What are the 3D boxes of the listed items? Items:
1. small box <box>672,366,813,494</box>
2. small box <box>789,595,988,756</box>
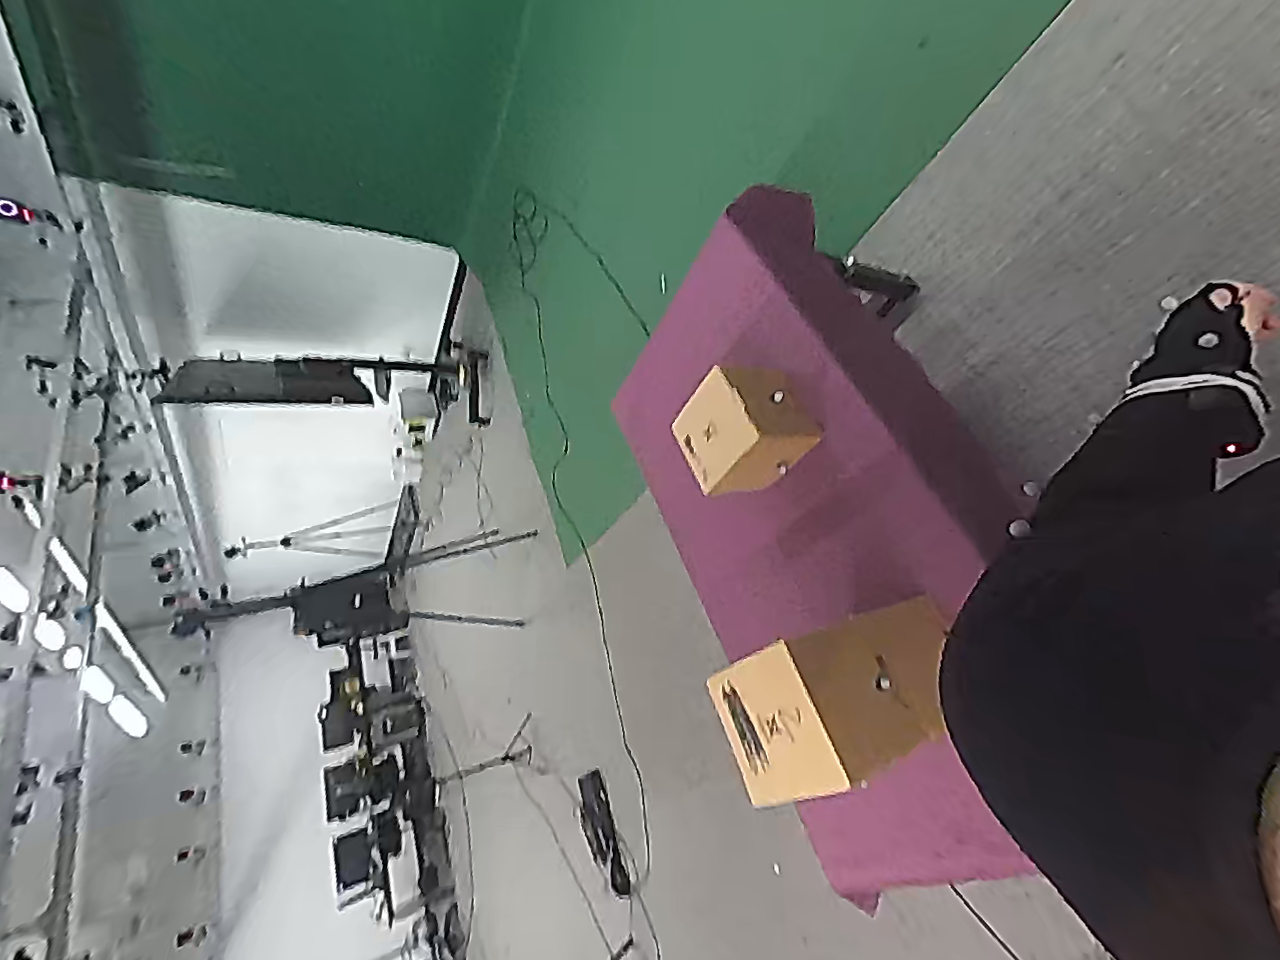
[{"bbox_3d":[0.196,-0.093,1.016,0.179,0.176,0.168,-52,52,44],"label":"small box"},{"bbox_3d":[0.367,0.289,0.811,0.179,0.176,0.168,-50,54,45],"label":"small box"}]
